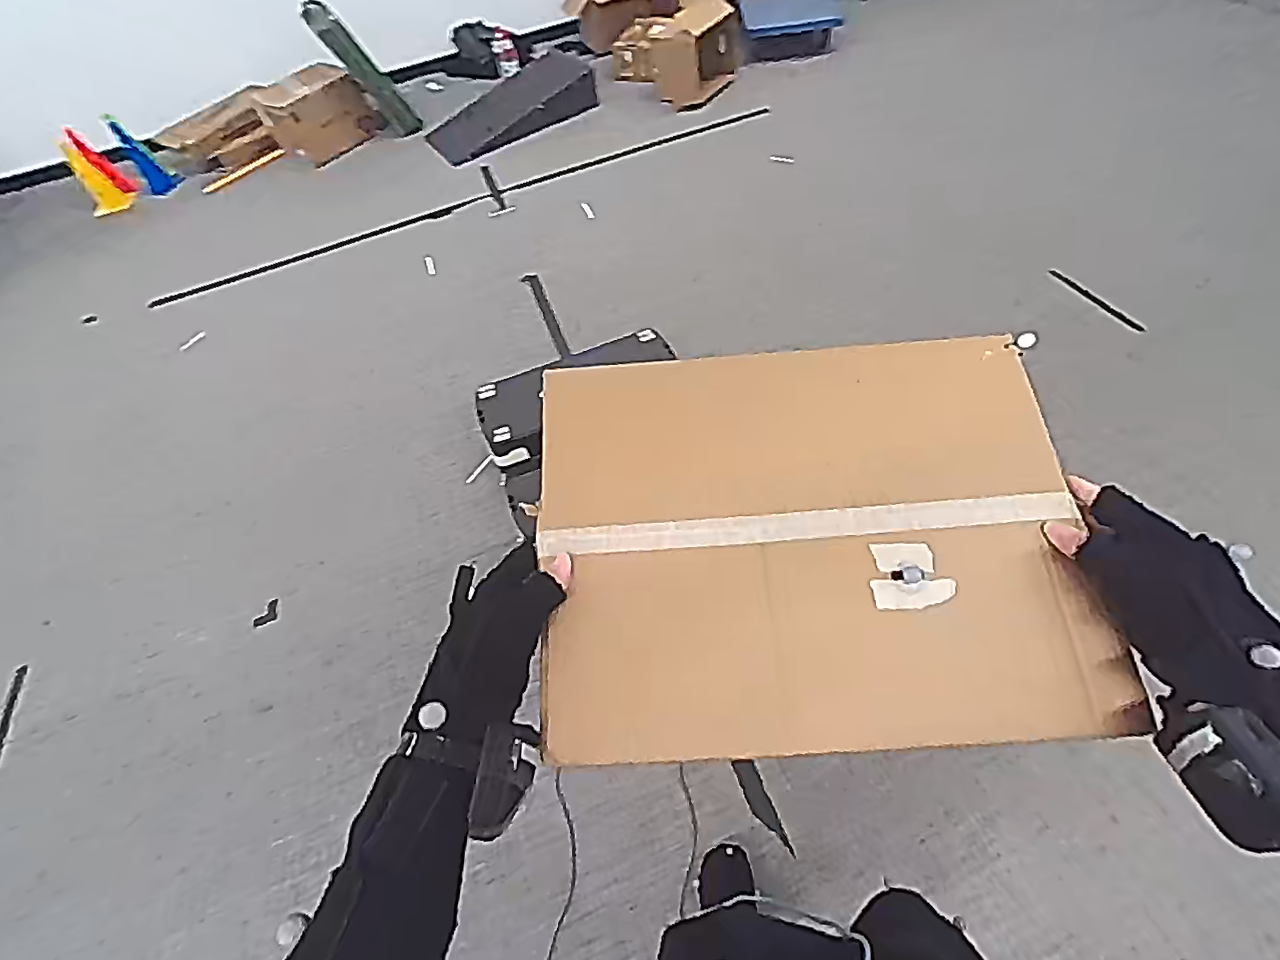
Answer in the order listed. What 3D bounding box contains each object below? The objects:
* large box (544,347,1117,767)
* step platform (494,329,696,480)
[{"bbox_3d":[0.129,0.095,0.568,0.408,0.320,0.320,-5,69,1],"label":"large box"},{"bbox_3d":[-0.143,-0.264,1.832,0.684,0.204,0.286,-22,56,-8],"label":"step platform"}]
